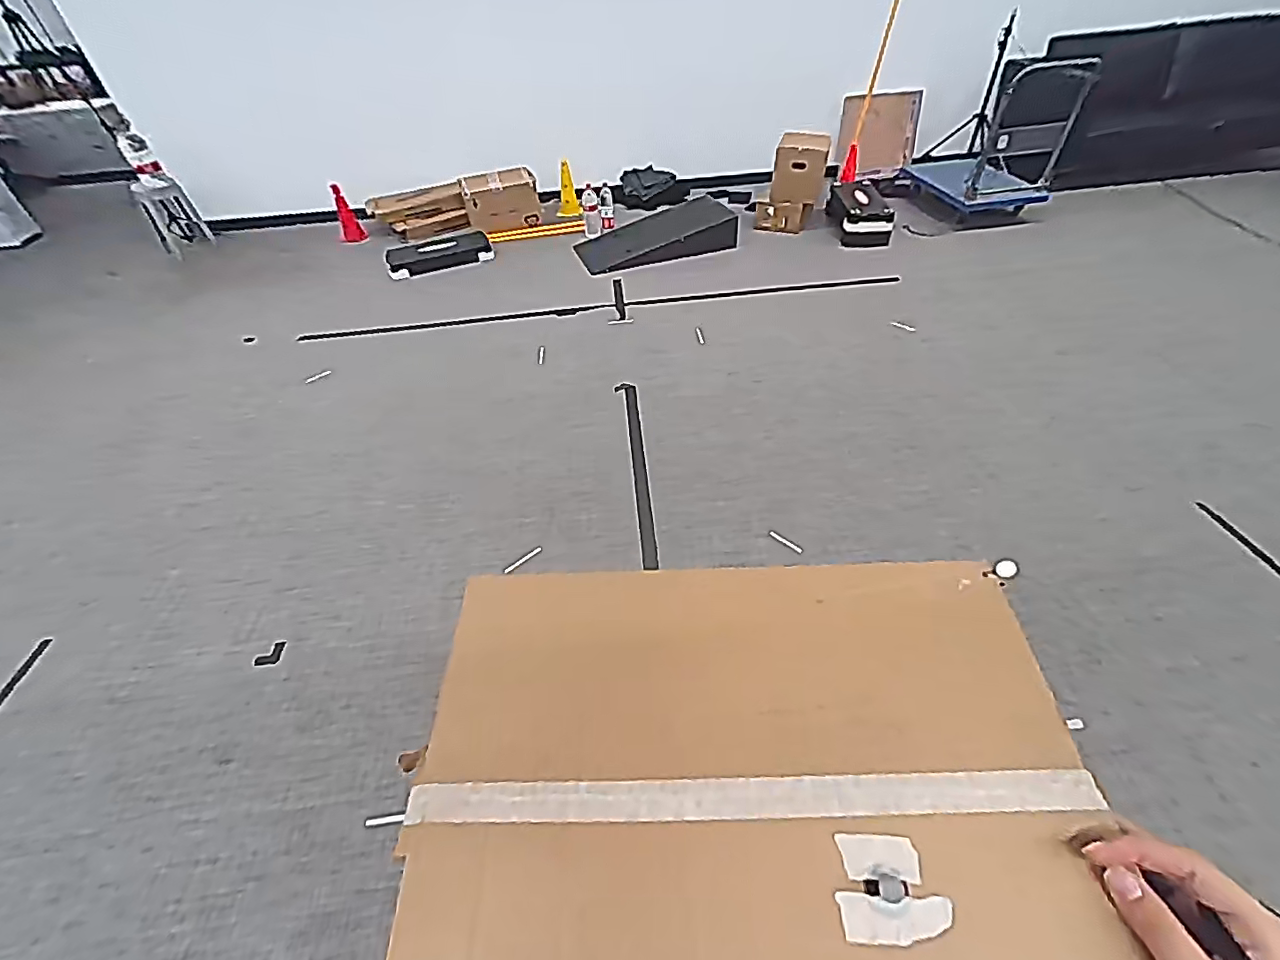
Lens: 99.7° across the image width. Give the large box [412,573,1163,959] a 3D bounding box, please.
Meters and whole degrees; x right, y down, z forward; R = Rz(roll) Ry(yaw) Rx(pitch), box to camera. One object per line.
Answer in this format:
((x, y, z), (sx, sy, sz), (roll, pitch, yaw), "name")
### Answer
((0.077, 0.294, 0.446), (0.408, 0.320, 0.320), (-2, 52, 1), "large box")
